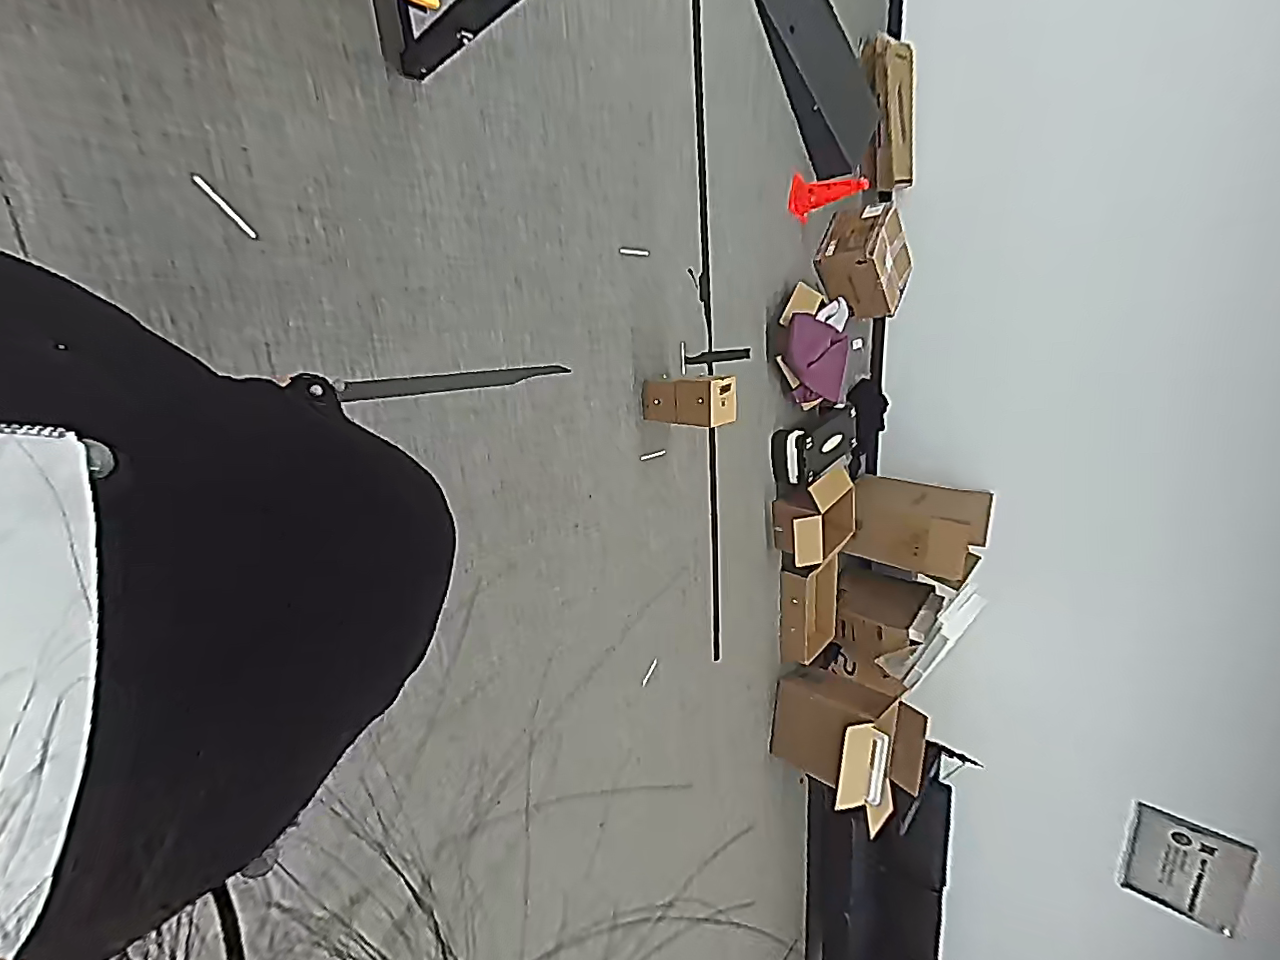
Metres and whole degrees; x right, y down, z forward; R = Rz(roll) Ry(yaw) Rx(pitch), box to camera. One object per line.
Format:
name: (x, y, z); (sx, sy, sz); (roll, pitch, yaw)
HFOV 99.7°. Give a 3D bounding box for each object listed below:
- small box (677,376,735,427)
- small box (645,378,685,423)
small box: (0.254, -0.309, 2.094); (0.168, 0.176, 0.179); (-19, 113, -43)
small box: (0.134, -0.329, 2.207); (0.179, 0.176, 0.168); (-17, 110, -43)
